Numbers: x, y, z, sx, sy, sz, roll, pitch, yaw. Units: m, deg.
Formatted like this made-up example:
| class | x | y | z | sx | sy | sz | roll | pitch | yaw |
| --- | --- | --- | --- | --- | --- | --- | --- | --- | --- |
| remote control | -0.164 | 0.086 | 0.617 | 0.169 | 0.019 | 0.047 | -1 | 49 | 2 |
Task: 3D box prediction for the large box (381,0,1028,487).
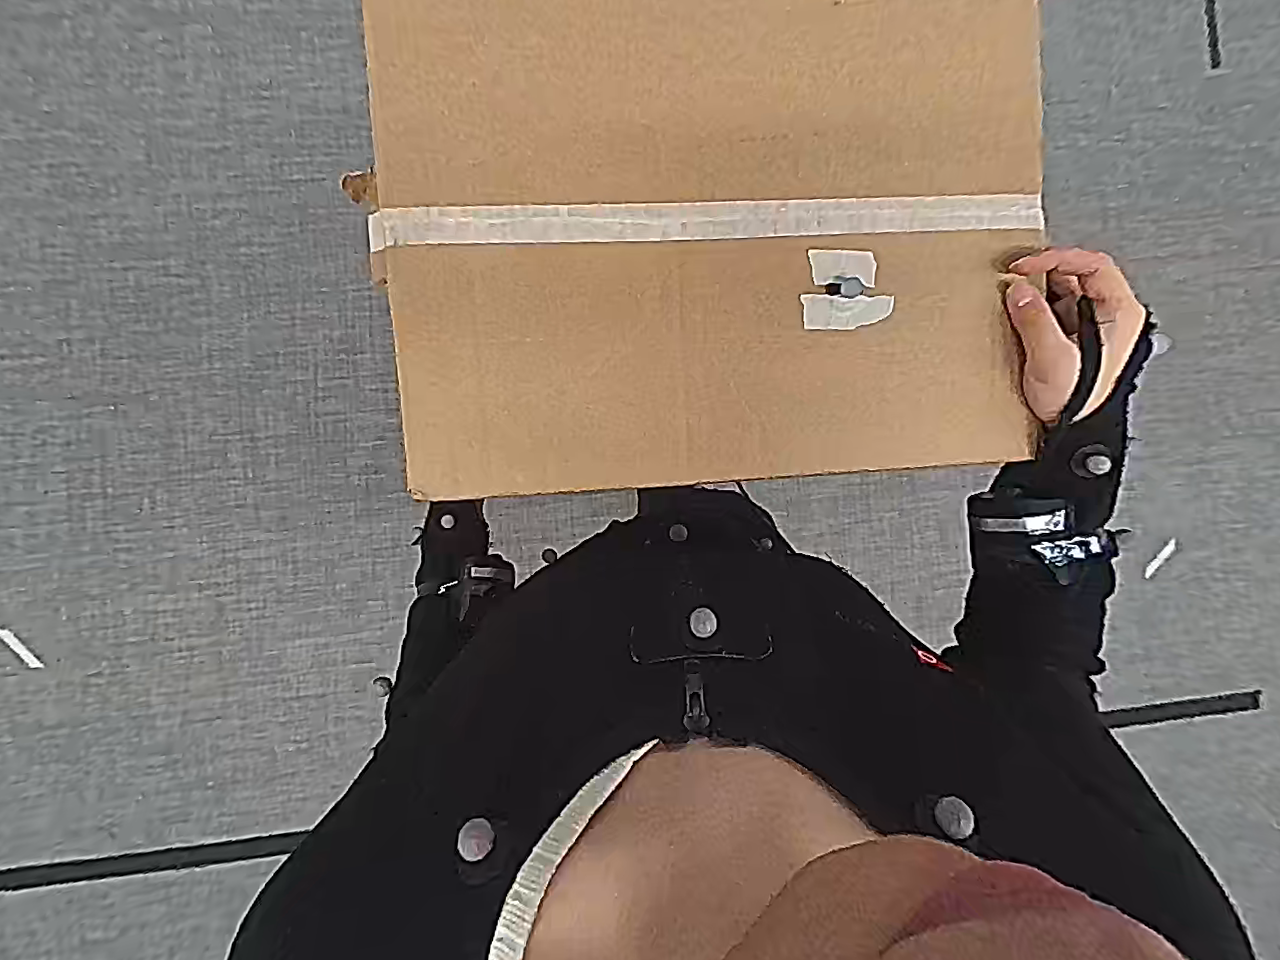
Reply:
| class | x | y | z | sx | sy | sz | roll | pitch | yaw |
| --- | --- | --- | --- | --- | --- | --- | --- | --- | --- |
| large box | 0.038 | -0.173 | 0.483 | 0.408 | 0.320 | 0.320 | -4 | 95 | -7 |
